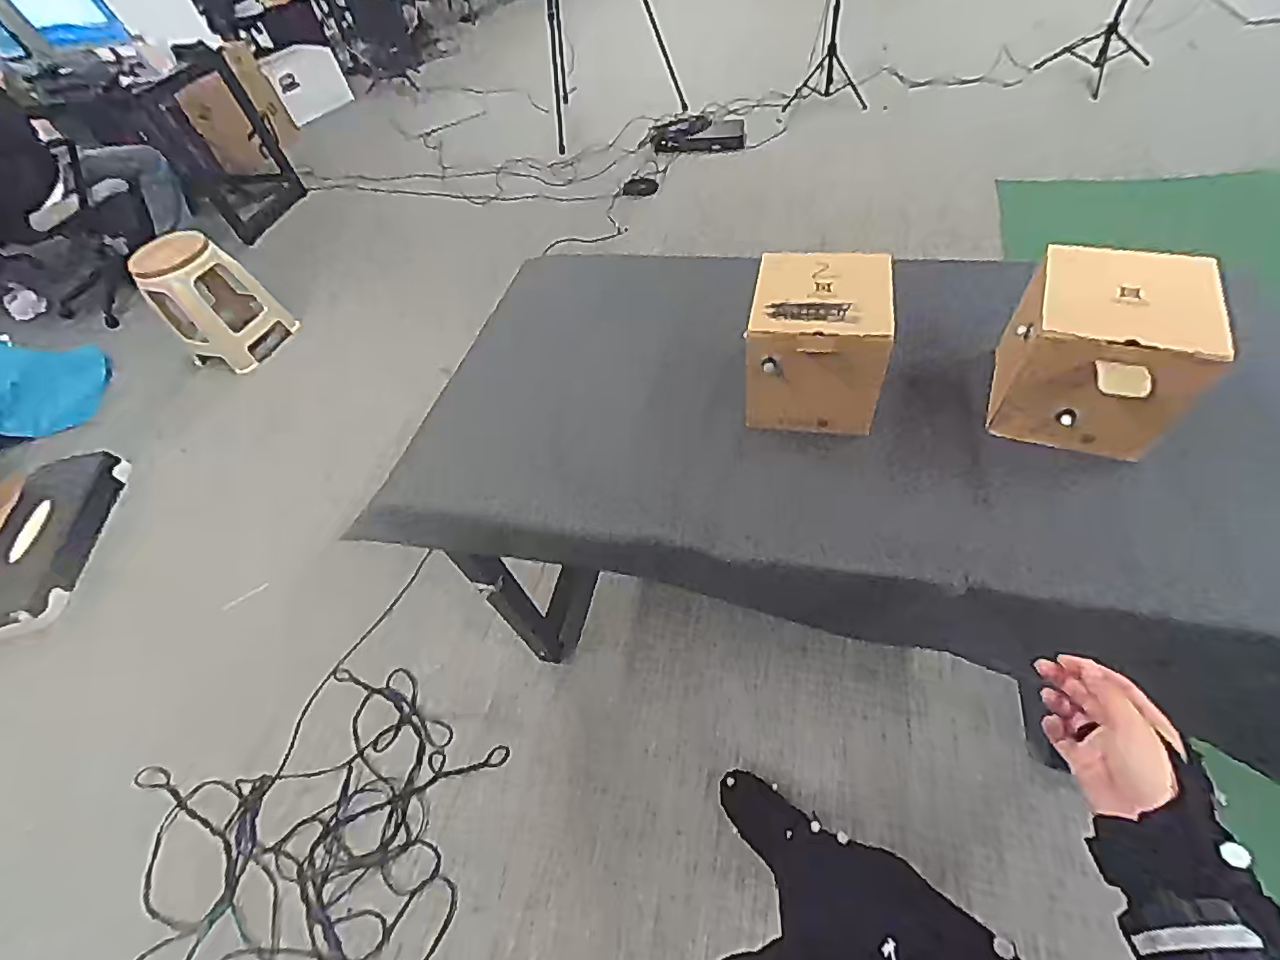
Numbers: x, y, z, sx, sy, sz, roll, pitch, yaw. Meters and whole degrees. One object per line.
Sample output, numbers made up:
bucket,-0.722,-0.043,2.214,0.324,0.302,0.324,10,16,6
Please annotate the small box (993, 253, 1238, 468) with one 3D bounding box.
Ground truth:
small box,0.556,-0.146,0.660,0.168,0.176,0.179,16,58,21
